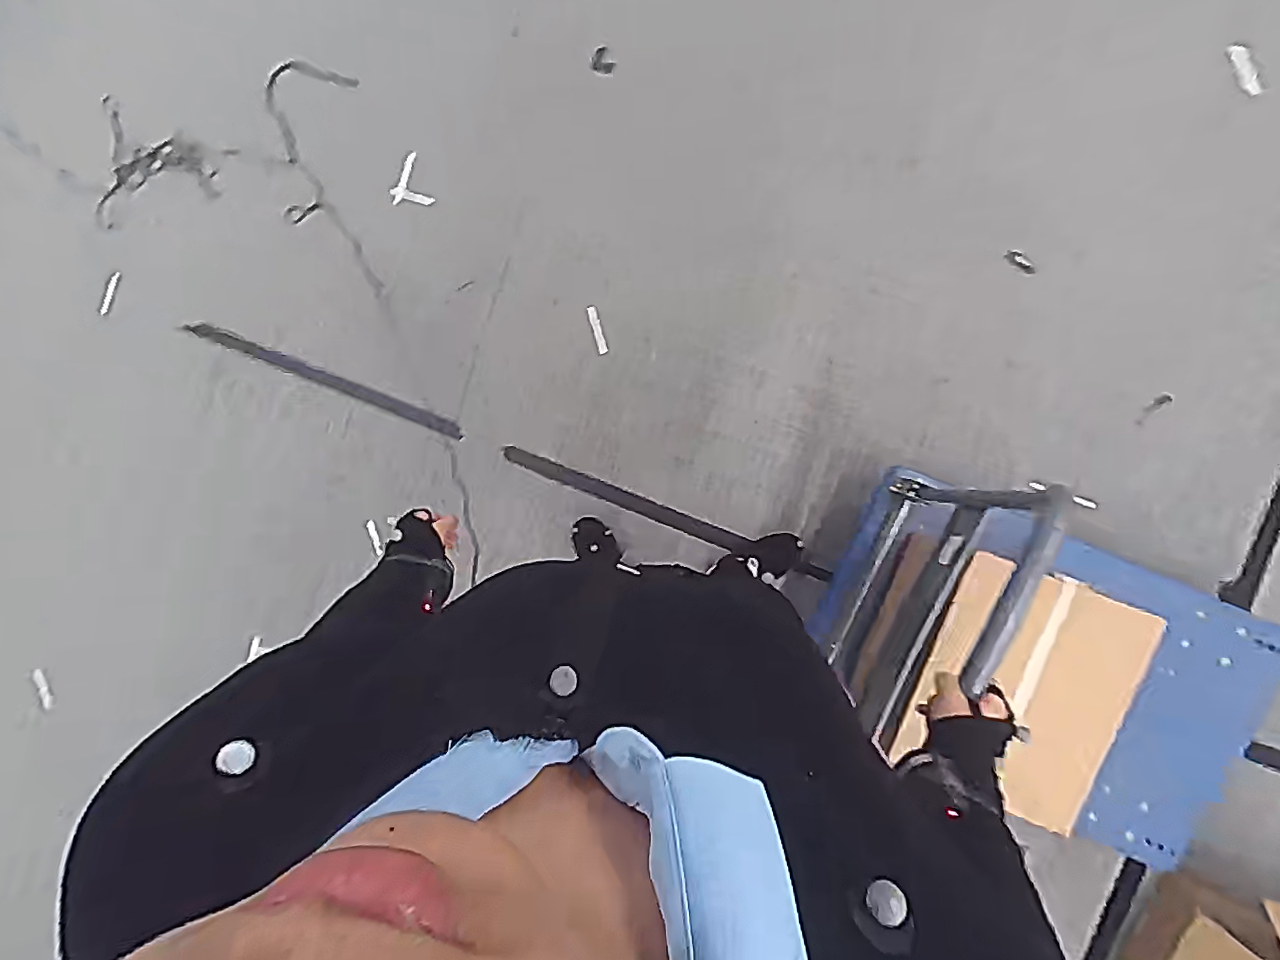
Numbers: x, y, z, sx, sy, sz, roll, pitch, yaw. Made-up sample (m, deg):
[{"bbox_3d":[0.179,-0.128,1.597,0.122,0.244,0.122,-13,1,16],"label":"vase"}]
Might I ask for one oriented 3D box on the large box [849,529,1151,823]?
[{"bbox_3d":[0.668,0.349,1.079,0.320,0.320,0.408,21,95,8],"label":"large box"}]
